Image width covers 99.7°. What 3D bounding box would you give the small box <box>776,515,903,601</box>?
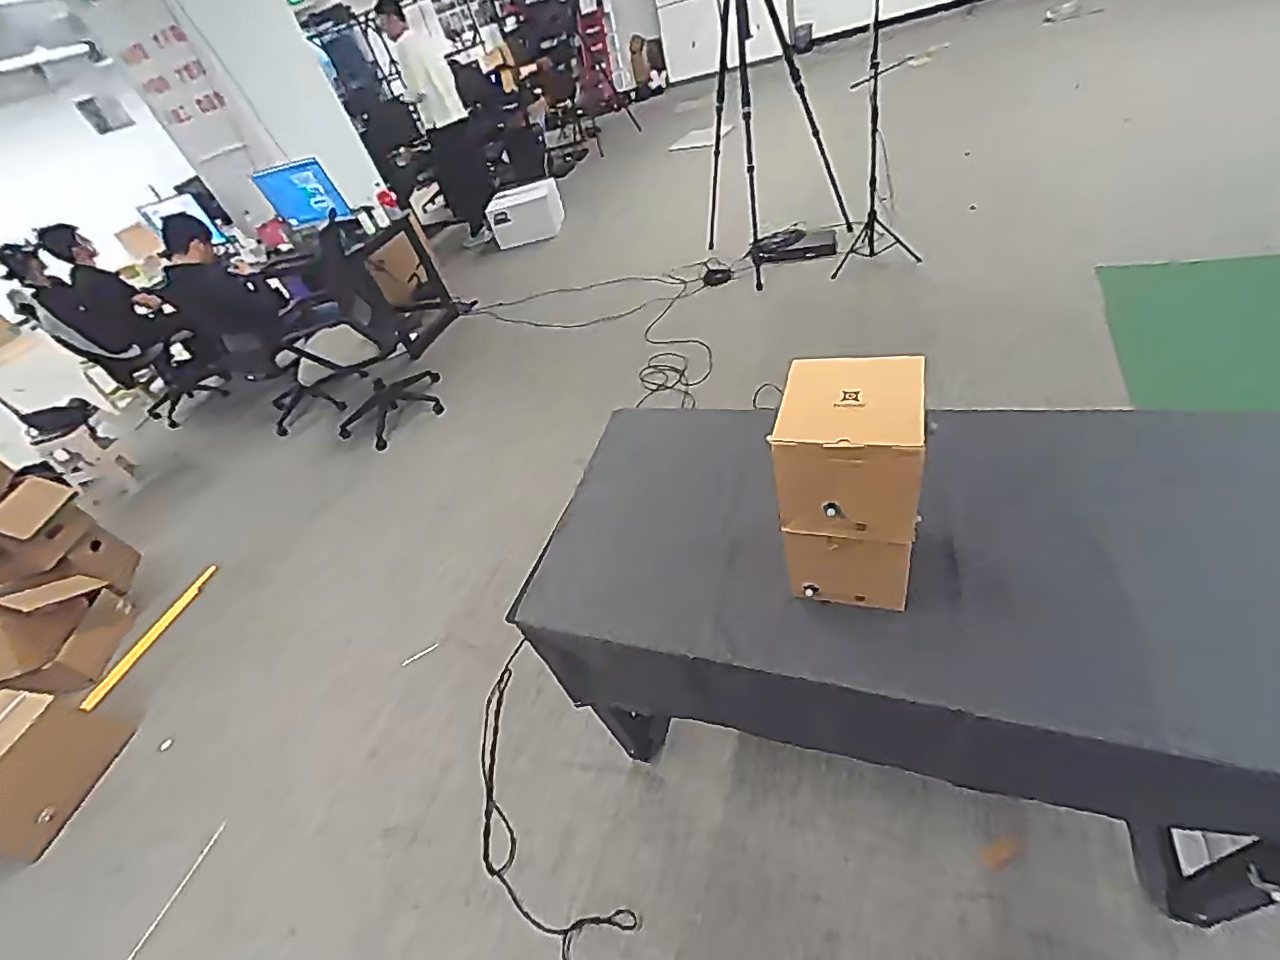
[{"bbox_3d":[0.315,0.065,0.836,0.168,0.176,0.179,3,46,24],"label":"small box"}]

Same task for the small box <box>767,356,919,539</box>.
[{"bbox_3d":[0.274,-0.047,0.726,0.168,0.176,0.179,4,48,24],"label":"small box"}]
